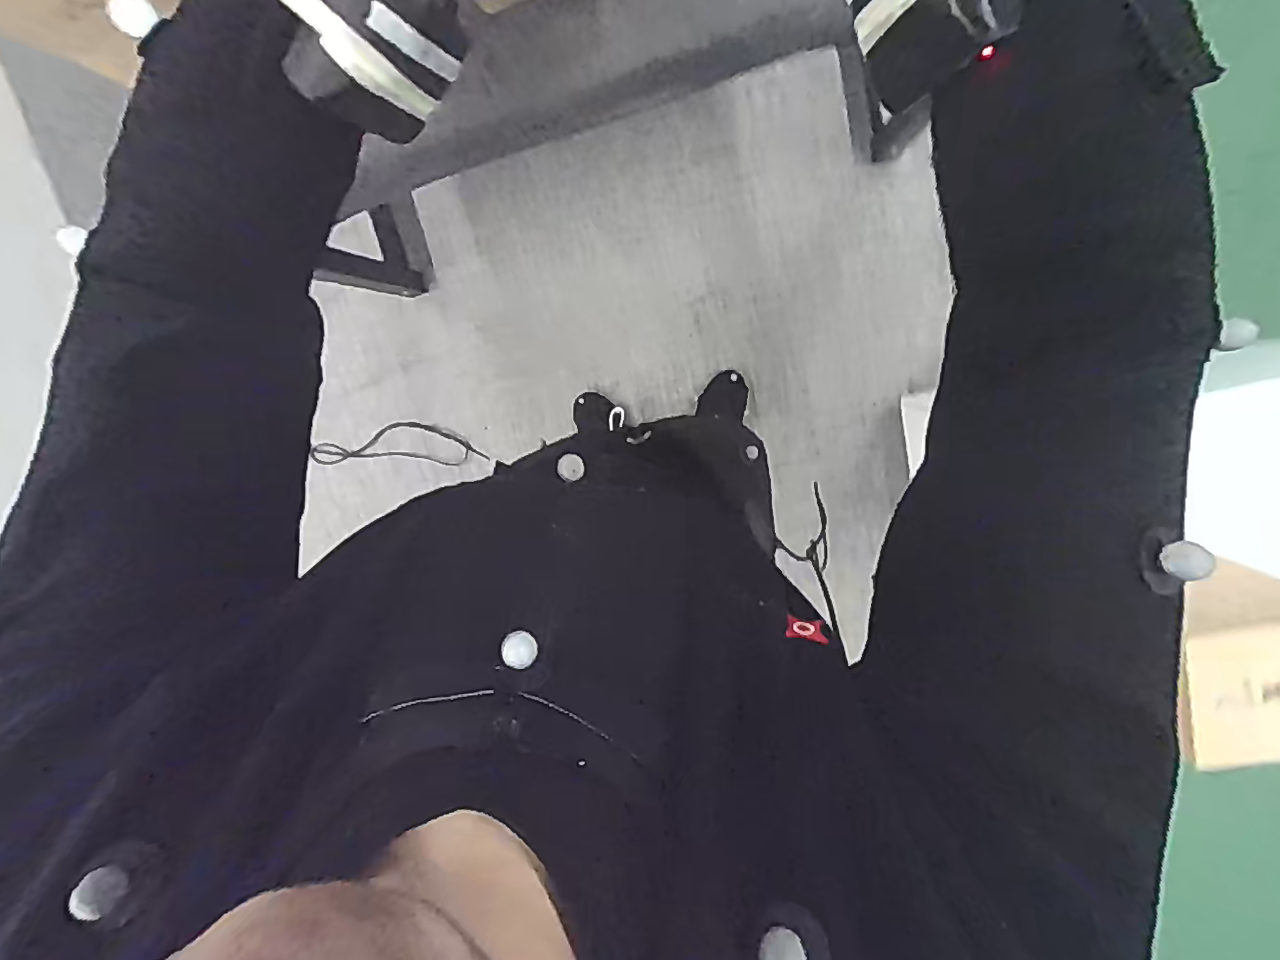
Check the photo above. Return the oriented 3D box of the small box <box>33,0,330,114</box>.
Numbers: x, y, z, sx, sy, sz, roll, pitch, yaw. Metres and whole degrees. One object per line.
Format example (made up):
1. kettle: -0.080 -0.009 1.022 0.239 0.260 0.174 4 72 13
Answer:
1. small box: -0.427 -0.471 0.489 0.168 0.176 0.179 -18 100 9
